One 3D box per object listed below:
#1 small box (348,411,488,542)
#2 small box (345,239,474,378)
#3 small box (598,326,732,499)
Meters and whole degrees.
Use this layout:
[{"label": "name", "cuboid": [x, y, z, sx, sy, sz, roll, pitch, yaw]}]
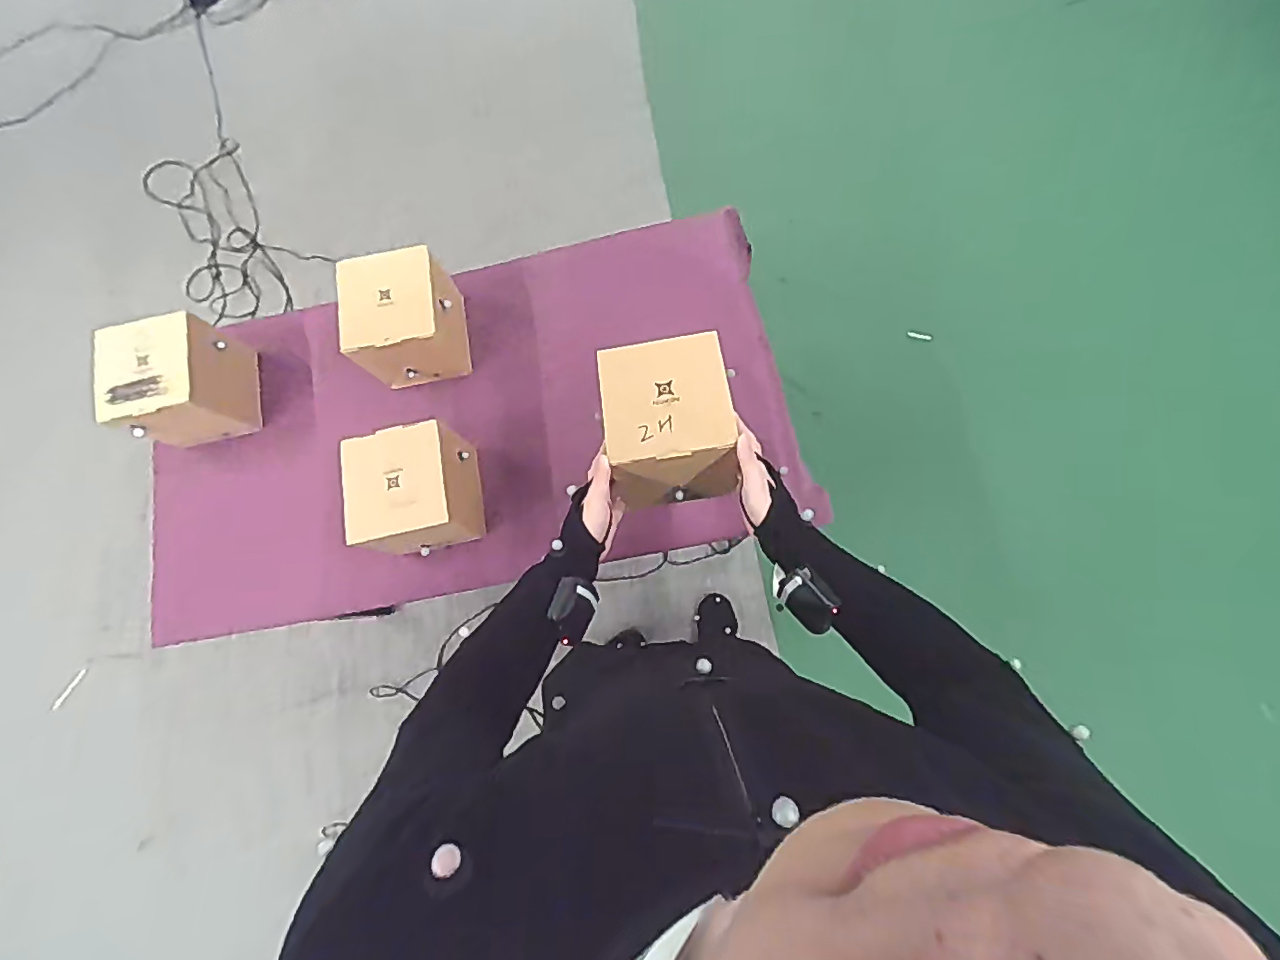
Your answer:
[{"label": "small box", "cuboid": [-0.379, 0.001, 0.943, 0.168, 0.176, 0.179, -12, 76, 3]}, {"label": "small box", "cuboid": [-0.425, -0.314, 1.015, 0.168, 0.176, 0.179, -10, 79, 3]}, {"label": "small box", "cuboid": [0.037, -0.089, 0.775, 0.168, 0.176, 0.179, -8, 67, 6]}]
